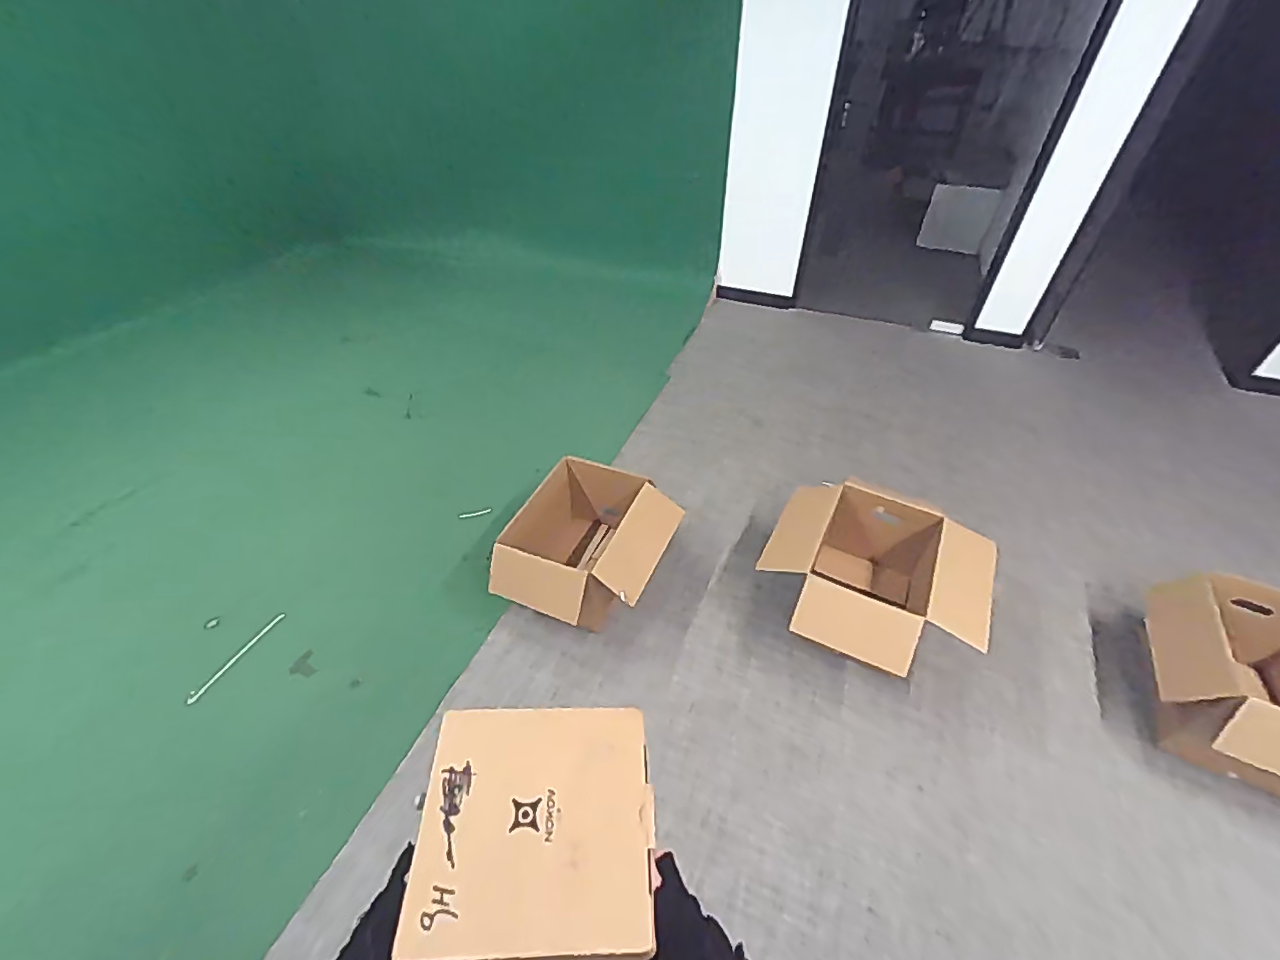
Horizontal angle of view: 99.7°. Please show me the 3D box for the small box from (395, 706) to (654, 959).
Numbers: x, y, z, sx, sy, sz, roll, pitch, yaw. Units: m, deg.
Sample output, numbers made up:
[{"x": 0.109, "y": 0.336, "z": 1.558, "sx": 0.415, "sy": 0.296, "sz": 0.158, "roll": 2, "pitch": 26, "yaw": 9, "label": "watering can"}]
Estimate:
[{"x": -0.086, "y": 0.318, "z": 0.476, "sx": 0.179, "sy": 0.176, "sz": 0.168, "roll": 3, "pitch": 44, "yaw": -5, "label": "small box"}]
